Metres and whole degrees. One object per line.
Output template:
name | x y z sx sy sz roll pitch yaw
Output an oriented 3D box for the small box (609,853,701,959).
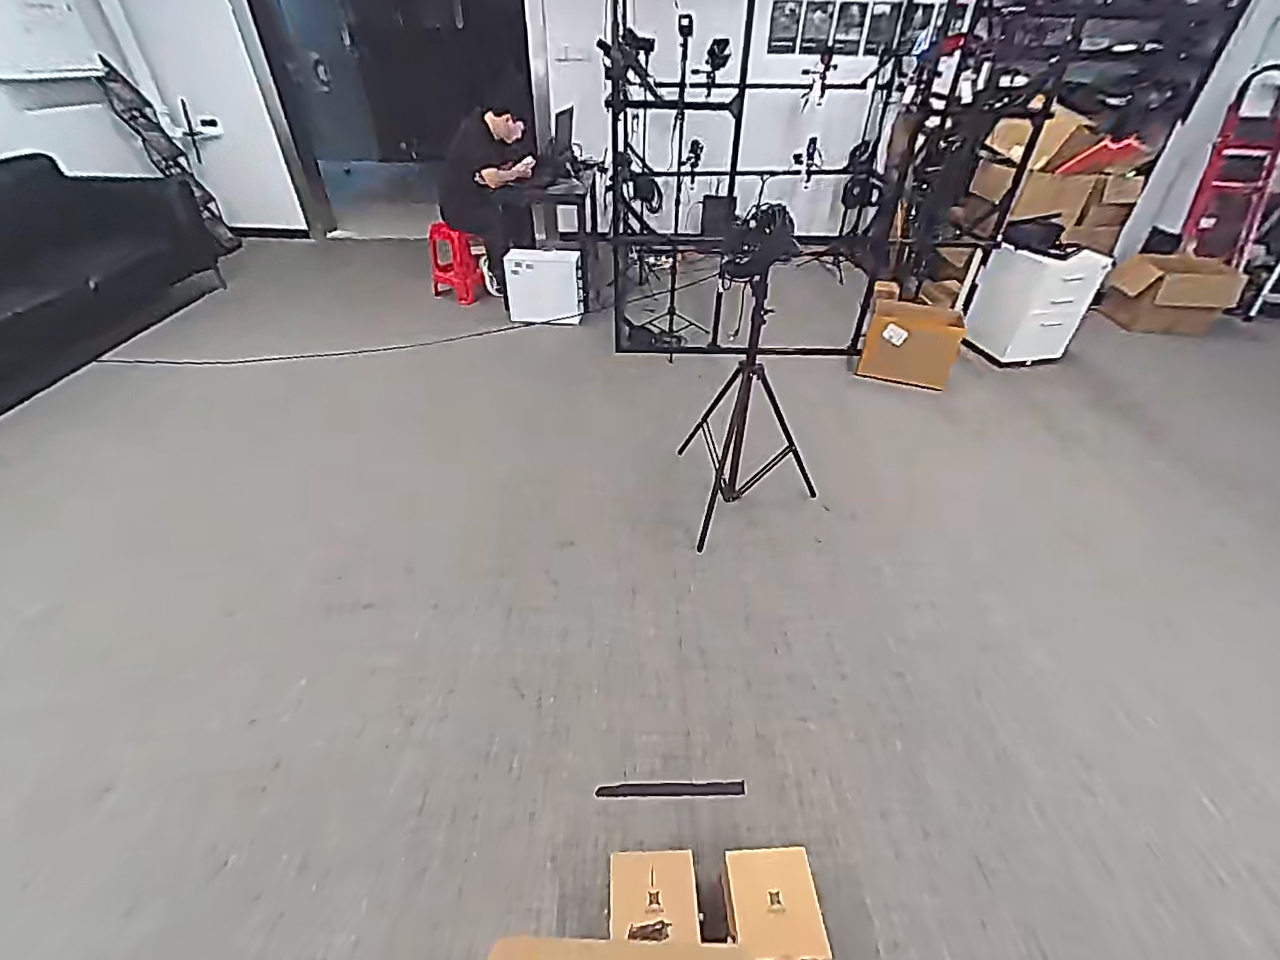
small box | 0.026 0.862 1.057 0.168 0.176 0.179 0 37 -2
